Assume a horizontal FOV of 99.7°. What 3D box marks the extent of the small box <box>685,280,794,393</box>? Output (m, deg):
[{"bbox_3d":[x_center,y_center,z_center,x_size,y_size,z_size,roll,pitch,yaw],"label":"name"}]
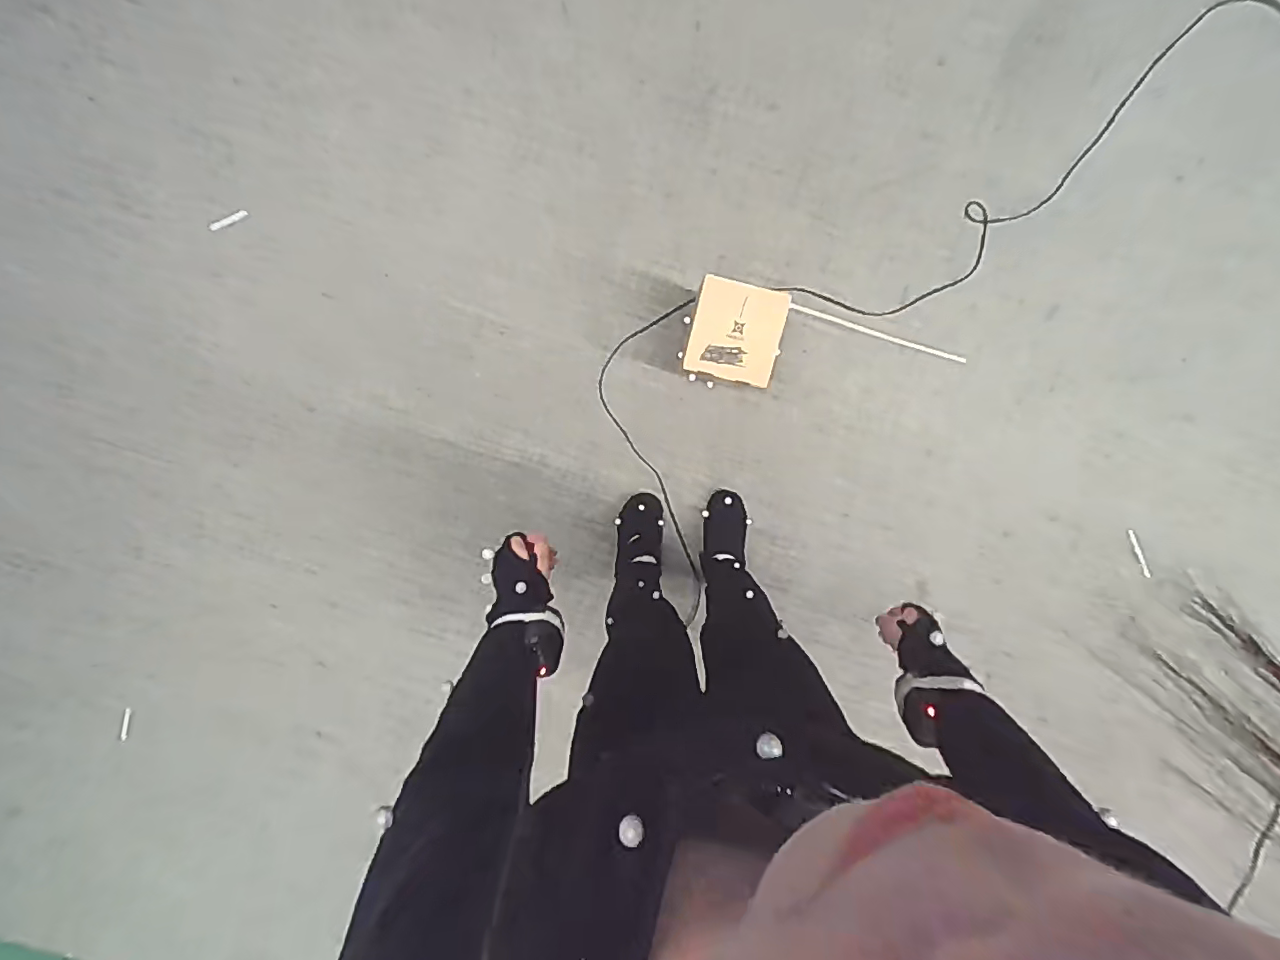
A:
[{"bbox_3d":[0.191,-0.279,1.086,0.168,0.176,0.179,14,99,0],"label":"small box"}]
